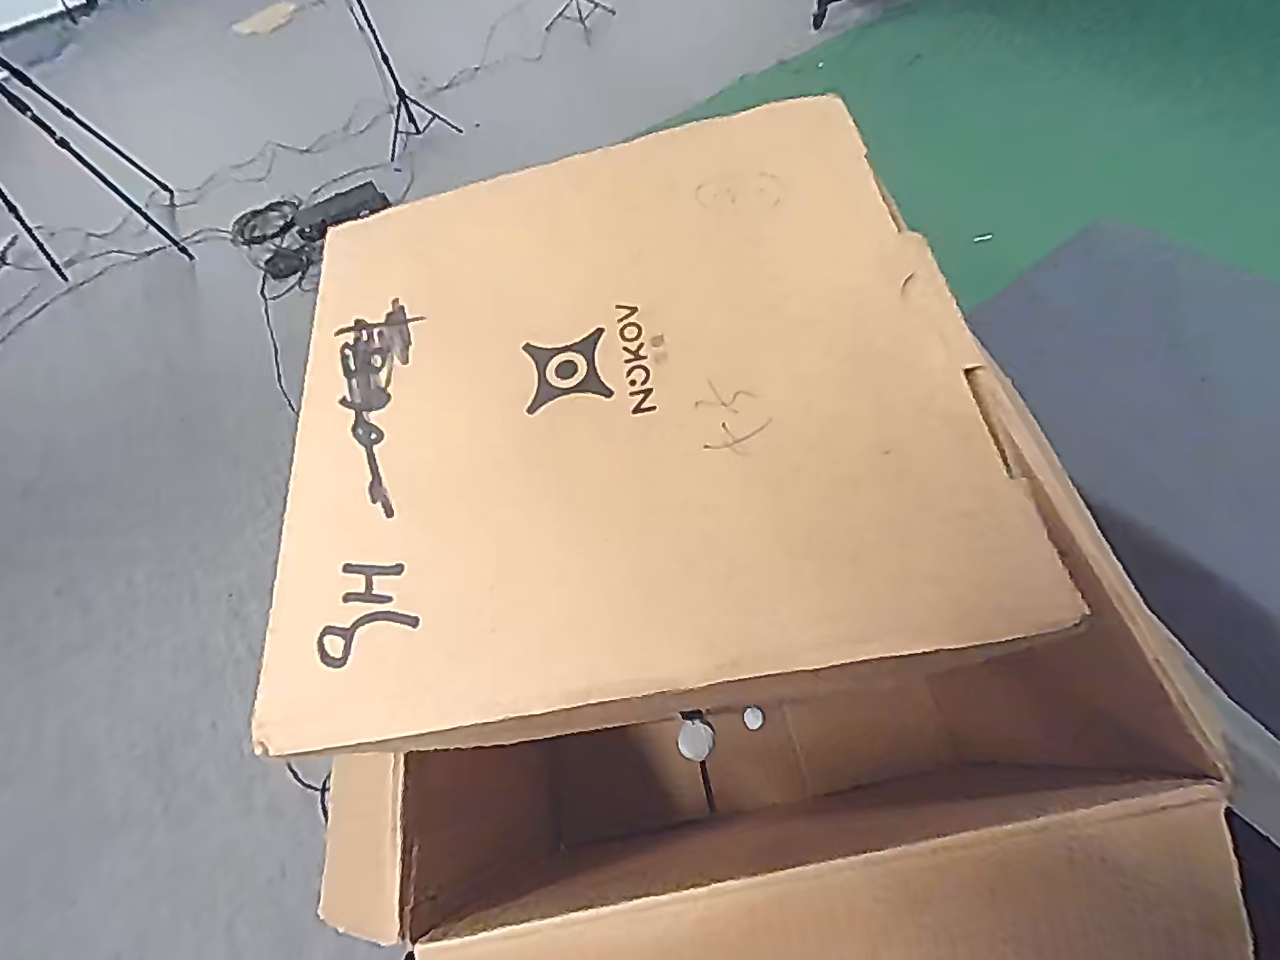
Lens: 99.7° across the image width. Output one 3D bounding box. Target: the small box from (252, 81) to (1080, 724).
[{"bbox_3d":[0.003,-0.004,0.215,0.179,0.176,0.168,-11,64,5],"label":"small box"}]
